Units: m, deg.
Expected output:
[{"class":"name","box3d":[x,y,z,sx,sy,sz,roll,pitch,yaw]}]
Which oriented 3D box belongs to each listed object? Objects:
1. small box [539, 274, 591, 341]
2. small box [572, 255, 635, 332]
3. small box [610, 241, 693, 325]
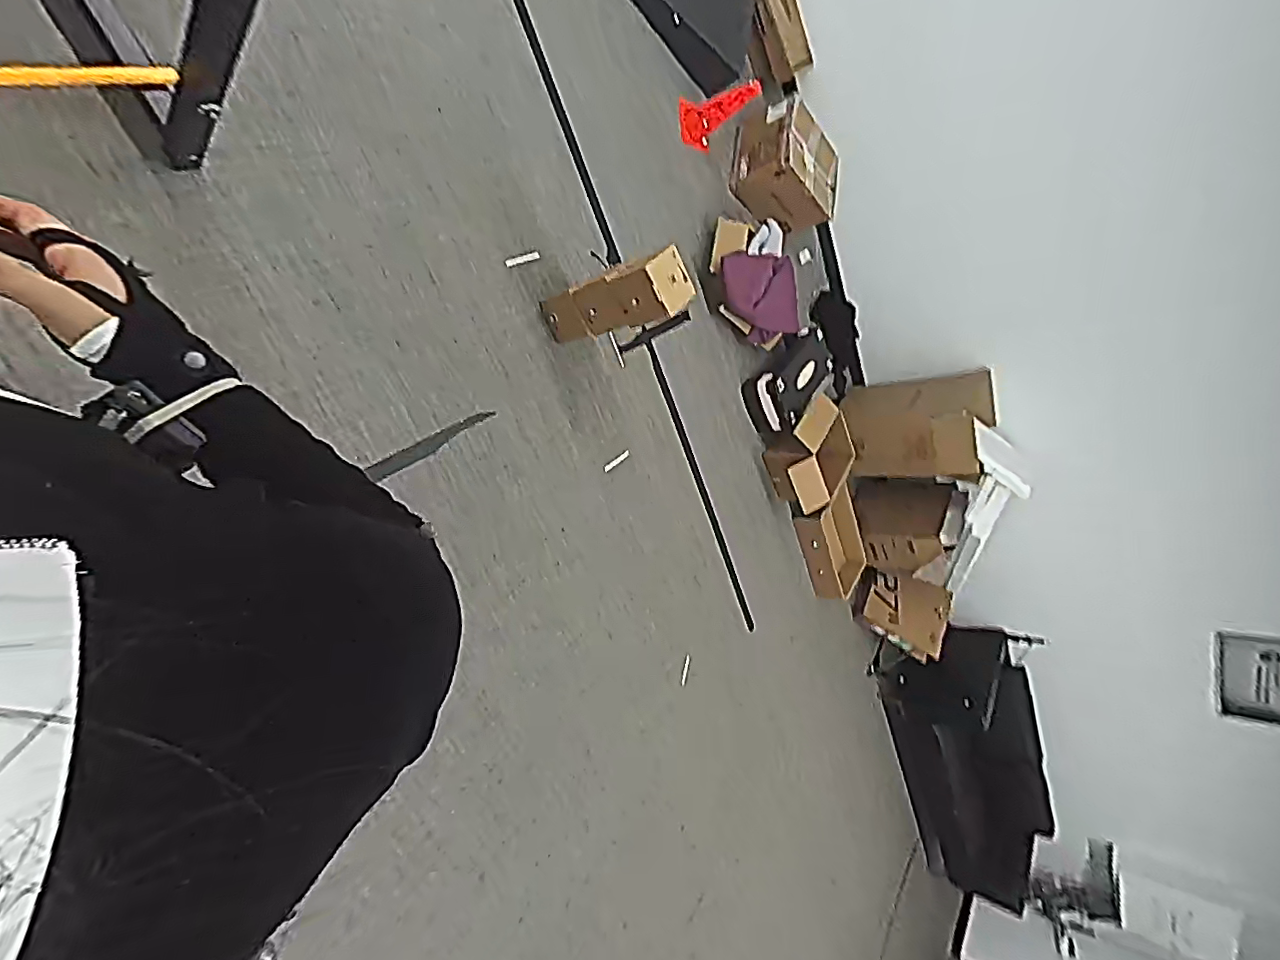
[{"class":"small box","box3d":[-0.220,-0.607,1.896,0.179,0.176,0.168,-43,118,-37]},{"class":"small box","box3d":[-0.092,-0.614,1.791,0.179,0.176,0.168,-49,121,-36]},{"class":"small box","box3d":[0.028,-0.606,1.680,0.179,0.176,0.168,-50,122,-35]}]
